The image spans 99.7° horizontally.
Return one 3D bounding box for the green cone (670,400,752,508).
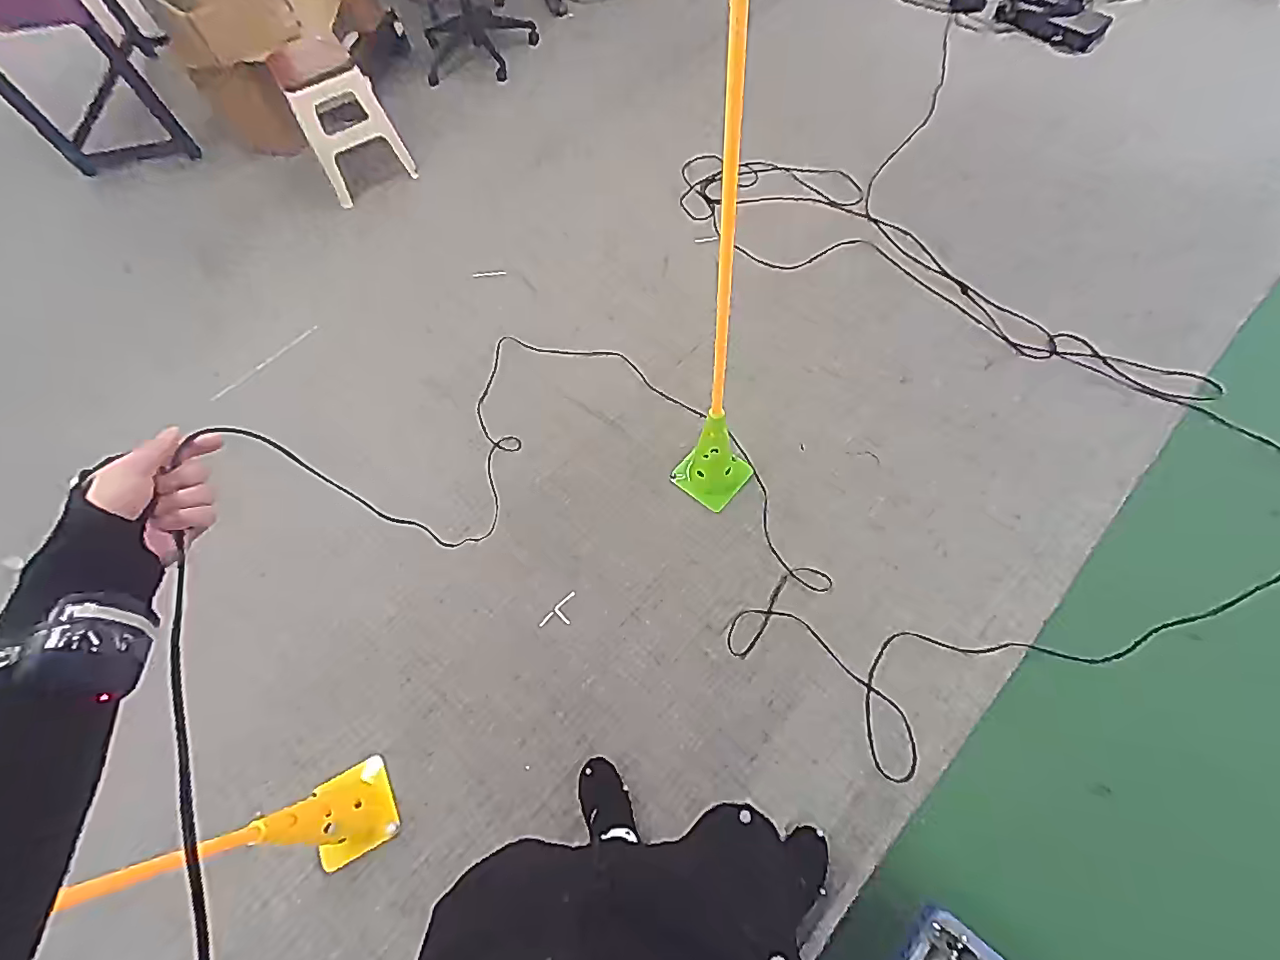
[{"bbox_3d":[0.213,-0.105,1.543,0.200,0.368,0.202,37,71,20],"label":"green cone"}]
